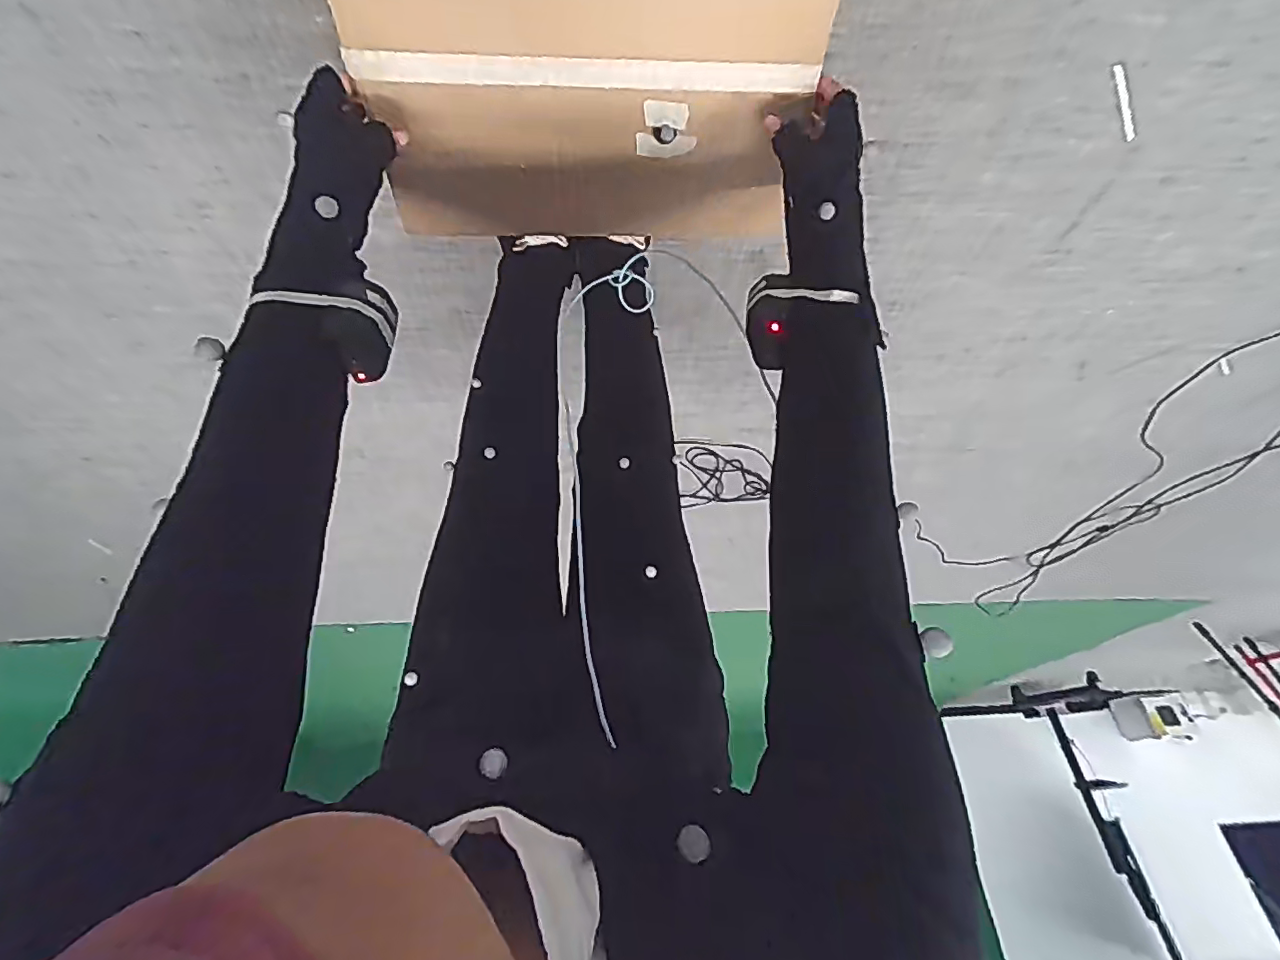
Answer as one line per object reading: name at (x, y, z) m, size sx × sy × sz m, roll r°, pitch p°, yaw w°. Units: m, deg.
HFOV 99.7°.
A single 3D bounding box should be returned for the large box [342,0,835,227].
large box at (-0.053, -0.490, 0.549) m, size 0.408 × 0.320 × 0.320 m, roll -3°, pitch 148°, yaw -6°
